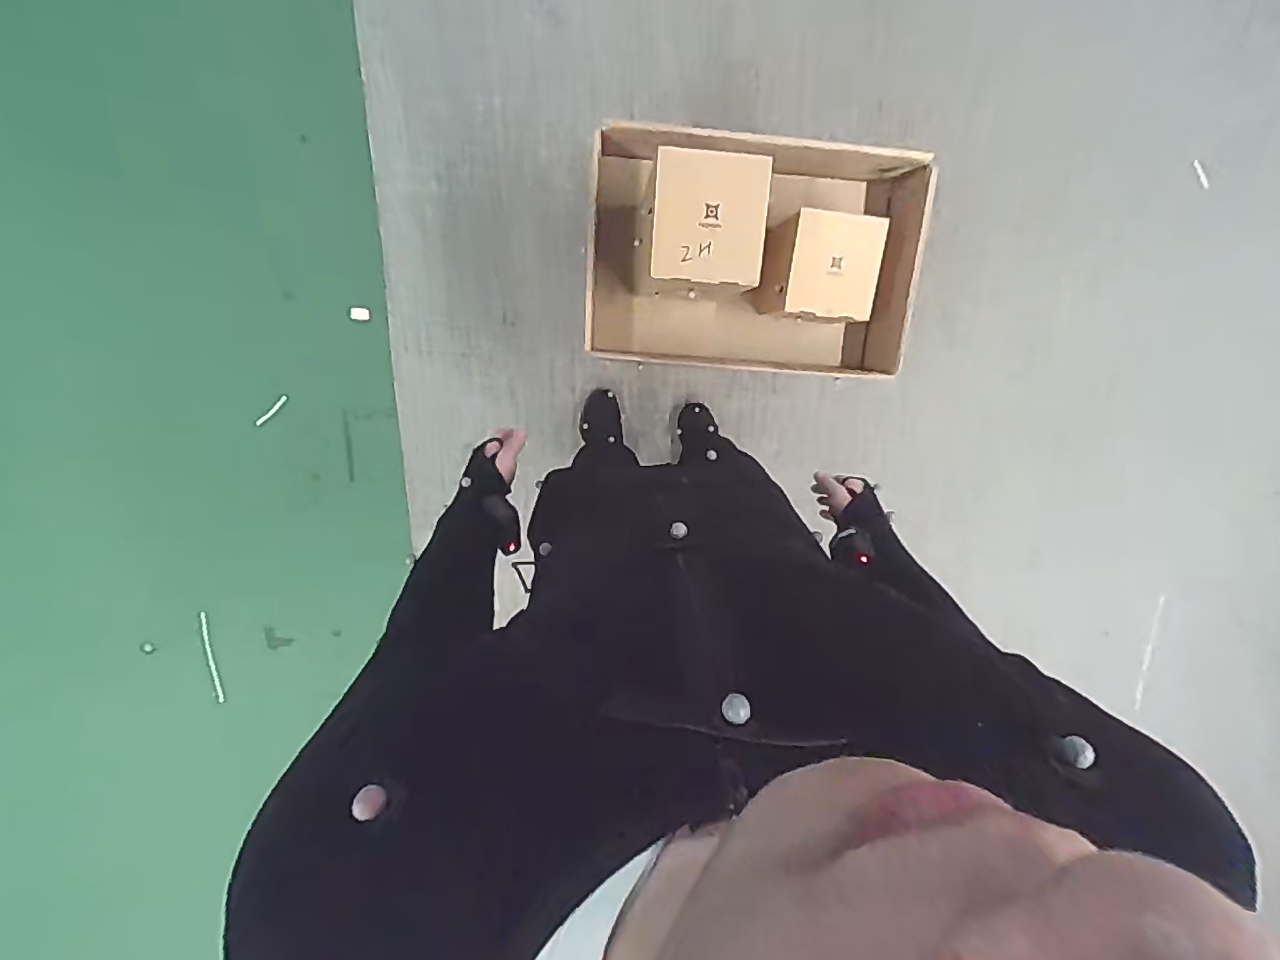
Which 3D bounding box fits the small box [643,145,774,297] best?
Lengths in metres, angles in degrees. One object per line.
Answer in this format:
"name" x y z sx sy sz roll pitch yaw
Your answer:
"small box" 0.095 -0.389 0.843 0.168 0.176 0.179 3 104 -5
